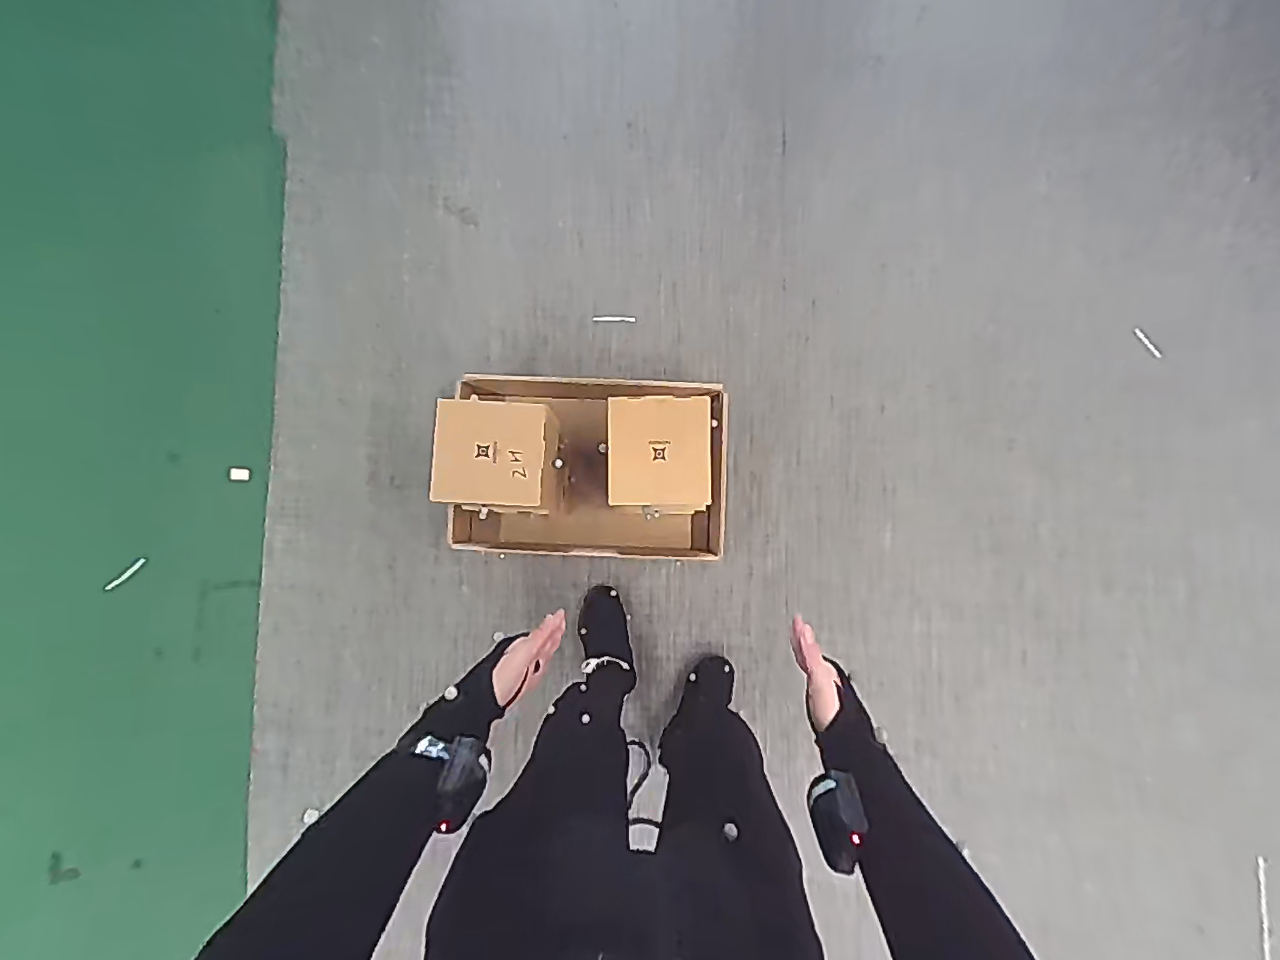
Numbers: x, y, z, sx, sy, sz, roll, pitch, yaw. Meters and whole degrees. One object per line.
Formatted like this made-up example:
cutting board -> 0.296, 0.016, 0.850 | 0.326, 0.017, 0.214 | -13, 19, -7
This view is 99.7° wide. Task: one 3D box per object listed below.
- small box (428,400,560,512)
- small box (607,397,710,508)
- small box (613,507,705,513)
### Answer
small box -> -0.240, -0.033, 0.926 | 0.179, 0.176, 0.168 | 3, 85, -2
small box -> 0.032, -0.041, 0.935 | 0.168, 0.176, 0.179 | -1, 87, 1
small box -> 0.038, -0.017, 1.095 | 0.179, 0.176, 0.168 | 0, 87, 0
